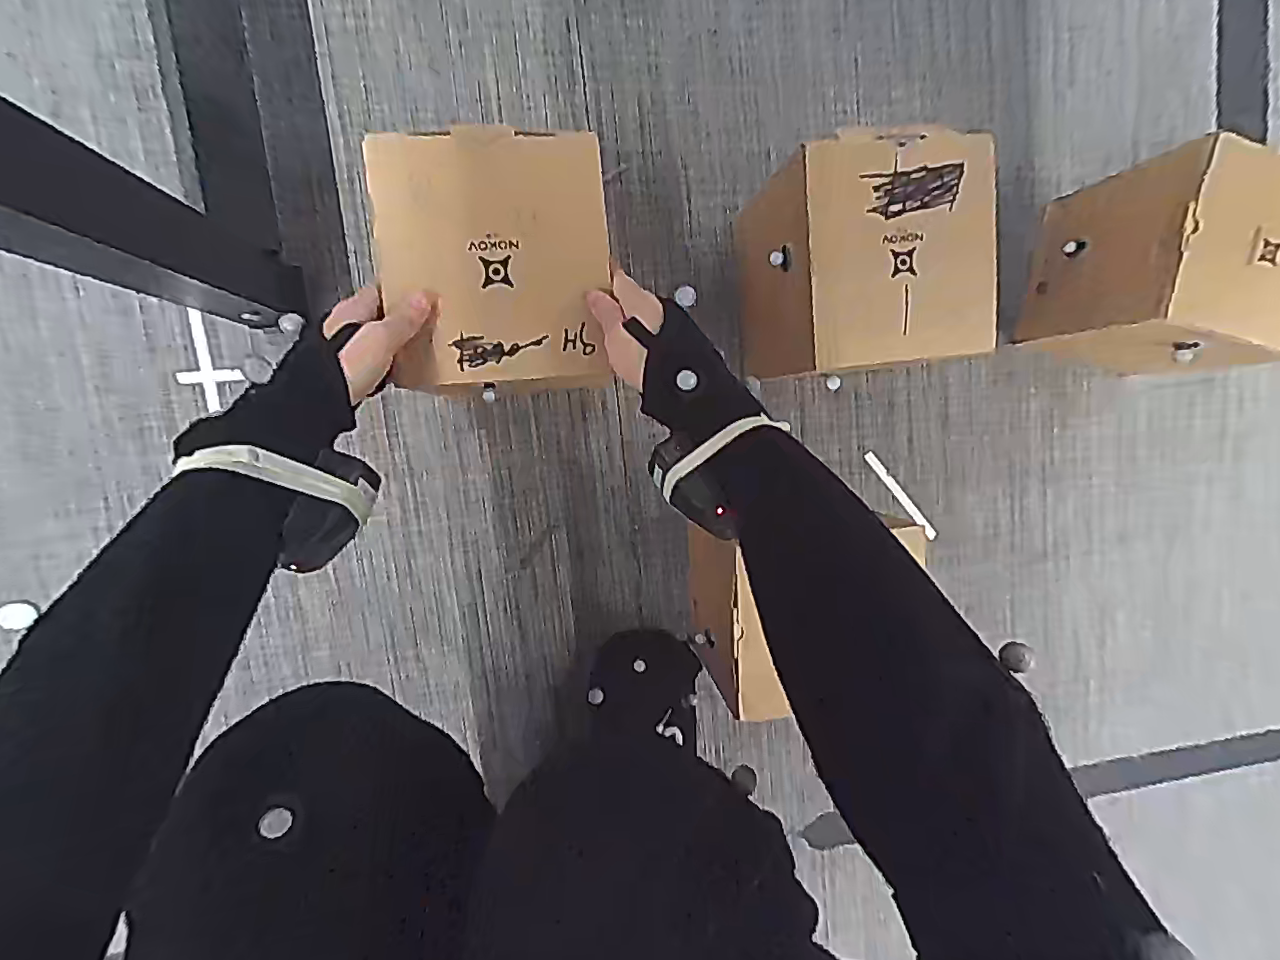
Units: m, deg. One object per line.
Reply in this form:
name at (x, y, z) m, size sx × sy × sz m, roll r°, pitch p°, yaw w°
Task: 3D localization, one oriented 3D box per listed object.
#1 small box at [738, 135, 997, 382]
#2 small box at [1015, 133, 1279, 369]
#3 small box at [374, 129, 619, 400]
small box at (0.200, -0.193, 0.514) m, size 0.168 × 0.176 × 0.179 m, roll -7°, pitch 98°, yaw -8°
small box at (0.551, -0.217, 0.568) m, size 0.179 × 0.176 × 0.168 m, roll 11°, pitch 94°, yaw -9°
small box at (-0.113, -0.166, 0.470) m, size 0.168 × 0.176 × 0.179 m, roll -4°, pitch 95°, yaw -8°
